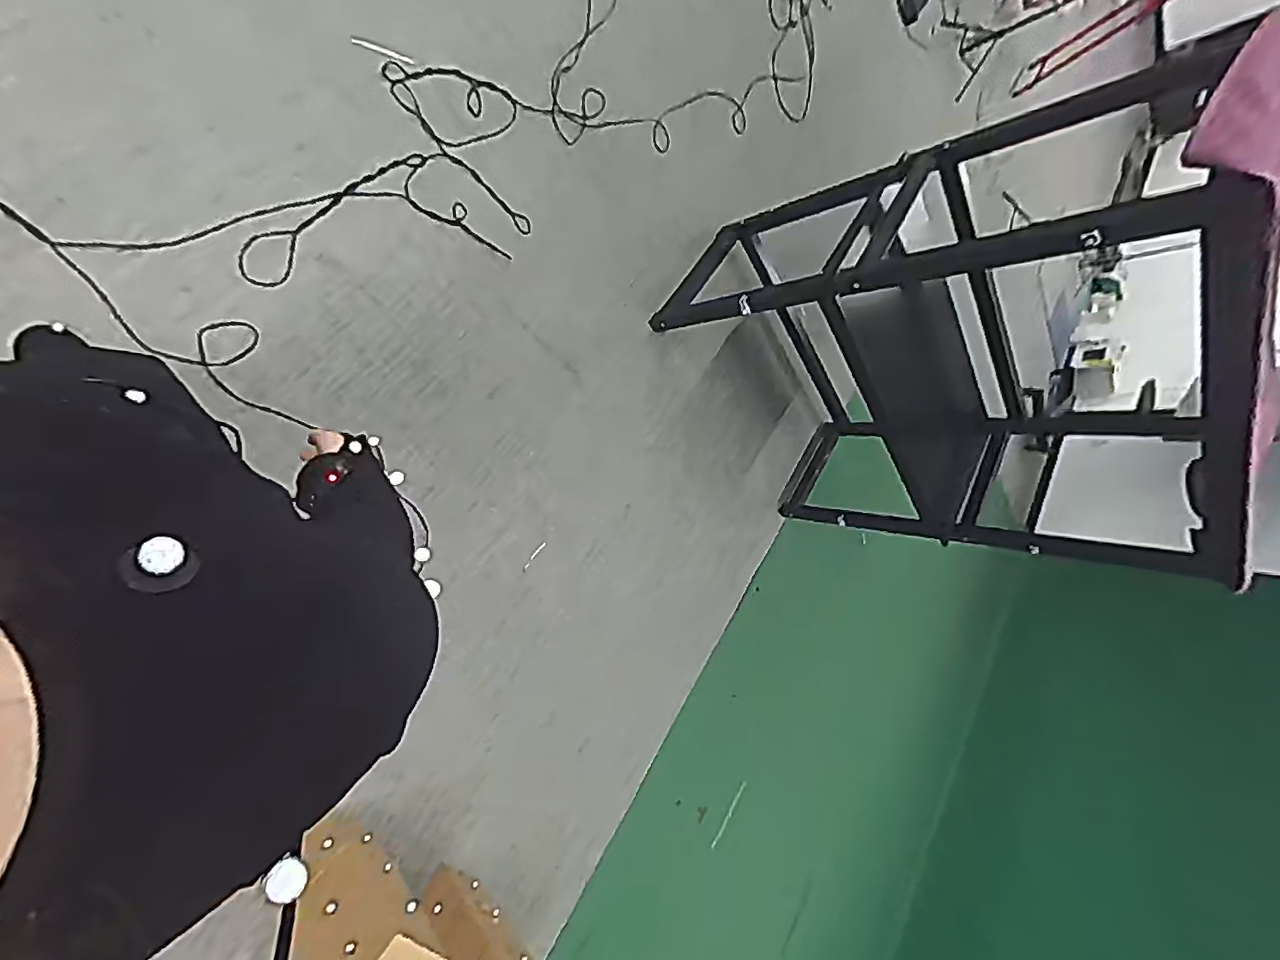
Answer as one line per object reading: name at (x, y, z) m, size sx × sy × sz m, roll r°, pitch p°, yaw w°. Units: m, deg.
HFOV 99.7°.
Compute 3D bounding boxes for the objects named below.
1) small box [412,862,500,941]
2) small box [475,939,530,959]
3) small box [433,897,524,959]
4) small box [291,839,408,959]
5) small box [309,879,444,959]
small box at (-0.547, 1.253, 1.555) m, size 0.179 × 0.176 × 0.168 m, roll -51°, pitch 124°, yaw -25°
small box at (-0.337, 1.274, 1.305) m, size 0.179 × 0.176 × 0.168 m, roll -54°, pitch 126°, yaw -22°
small box at (-0.444, 1.264, 1.431) m, size 0.179 × 0.176 × 0.168 m, roll -55°, pitch 126°, yaw -23°
small box at (-0.653, 0.968, 1.221) m, size 0.179 × 0.176 × 0.168 m, roll -48°, pitch 122°, yaw -26°
small box at (-0.542, 0.976, 1.099) m, size 0.179 × 0.176 × 0.168 m, roll -47°, pitch 122°, yaw -28°
